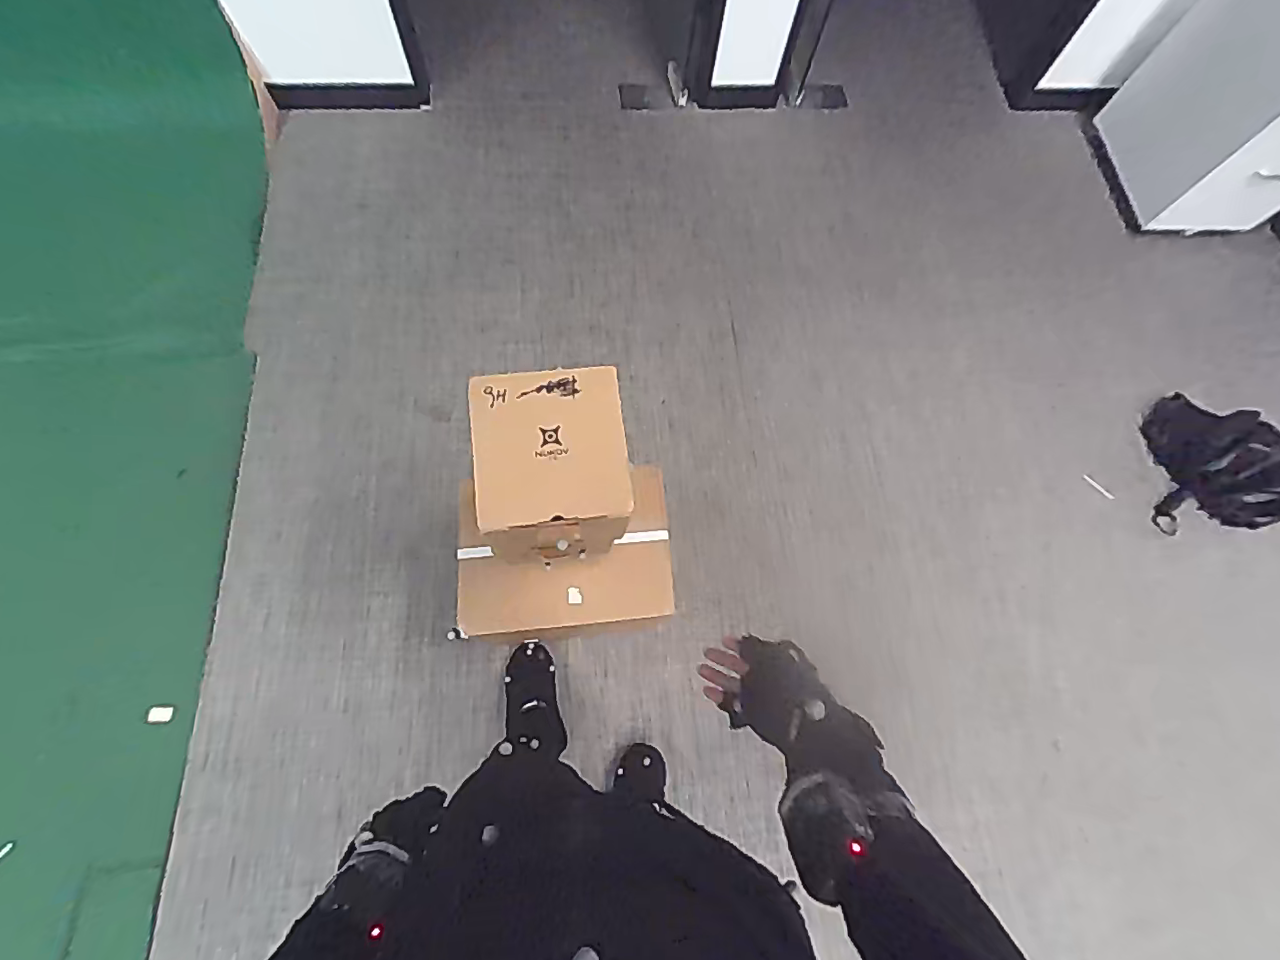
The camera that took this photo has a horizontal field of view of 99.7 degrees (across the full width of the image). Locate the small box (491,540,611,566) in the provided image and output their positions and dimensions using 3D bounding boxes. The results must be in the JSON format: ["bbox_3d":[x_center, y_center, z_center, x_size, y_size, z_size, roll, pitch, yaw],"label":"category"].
[{"bbox_3d":[-0.135,0.033,0.825,0.168,0.176,0.179,-7,75,-7],"label":"small box"}]

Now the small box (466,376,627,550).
[{"bbox_3d":[-0.109,-0.010,0.669,0.168,0.176,0.179,-6,77,-7],"label":"small box"}]

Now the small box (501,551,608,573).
[{"bbox_3d":[-0.155,0.076,0.980,0.179,0.176,0.168,-5,77,-6],"label":"small box"}]
